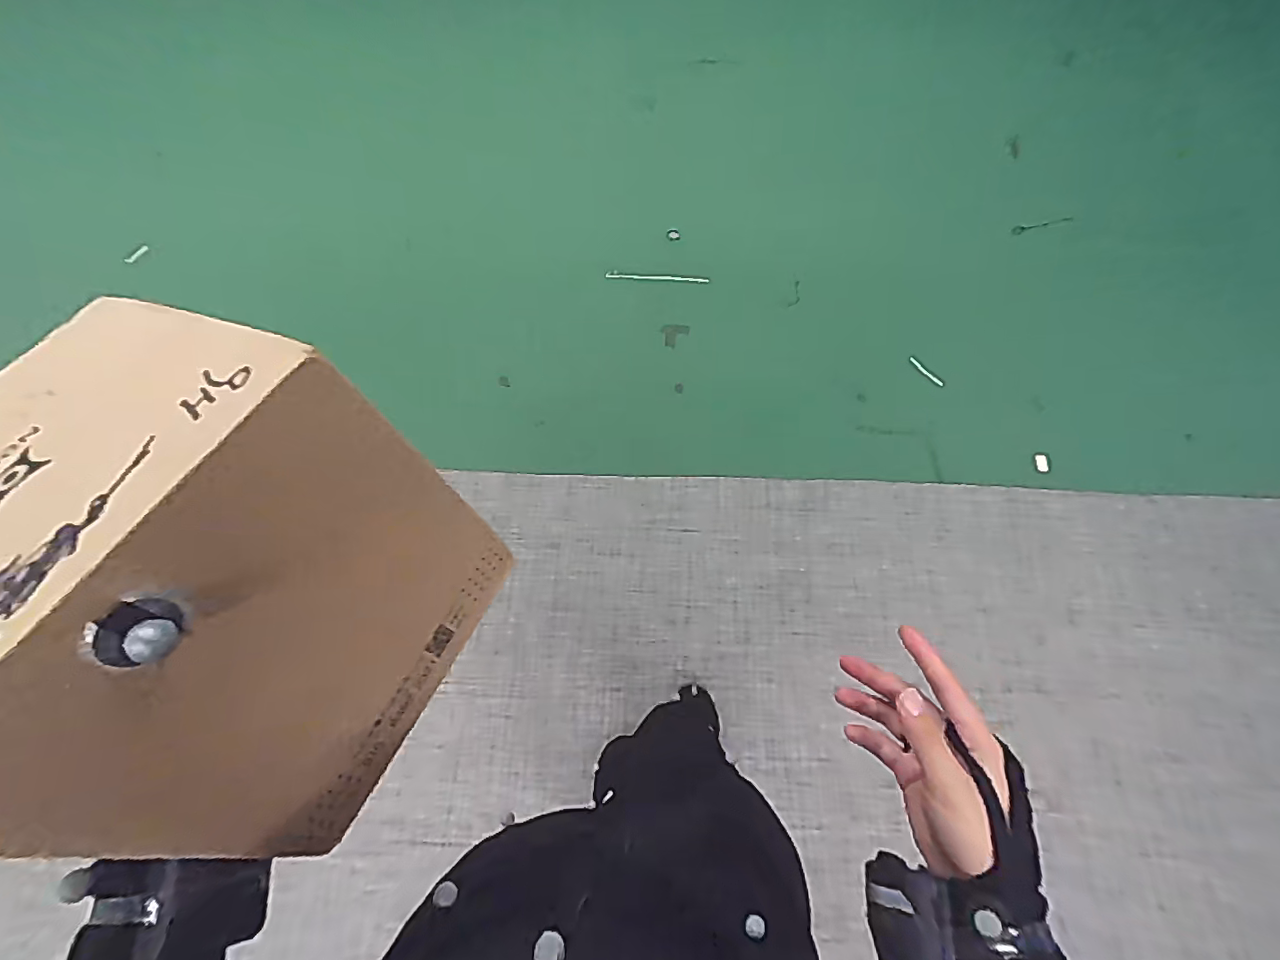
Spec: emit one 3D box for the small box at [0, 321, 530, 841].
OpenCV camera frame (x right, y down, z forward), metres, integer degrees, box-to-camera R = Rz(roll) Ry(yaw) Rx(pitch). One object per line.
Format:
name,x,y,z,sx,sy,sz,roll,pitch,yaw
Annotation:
small box,-0.189,0.050,0.263,0.179,0.176,0.168,16,63,27
